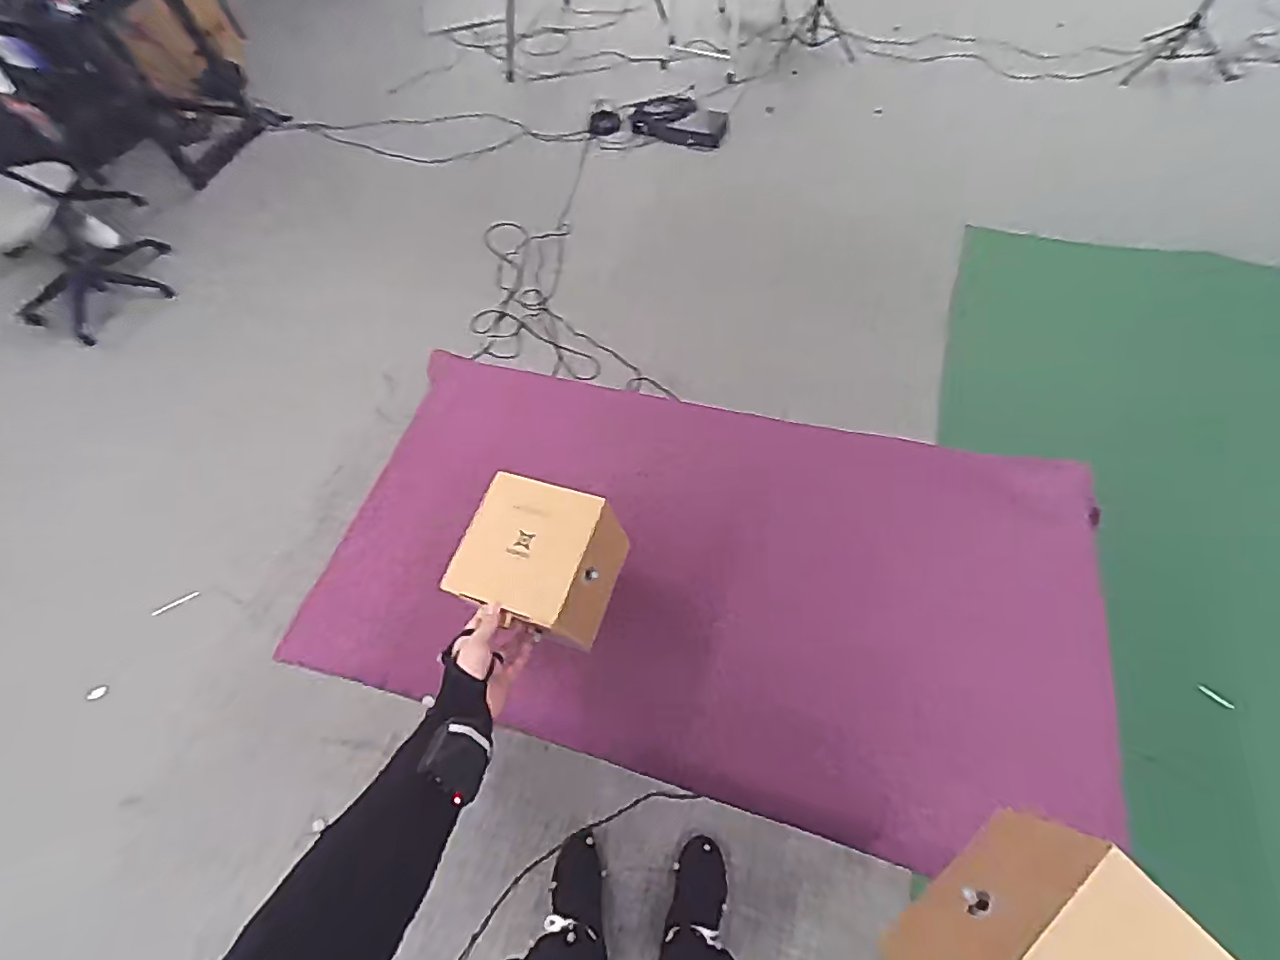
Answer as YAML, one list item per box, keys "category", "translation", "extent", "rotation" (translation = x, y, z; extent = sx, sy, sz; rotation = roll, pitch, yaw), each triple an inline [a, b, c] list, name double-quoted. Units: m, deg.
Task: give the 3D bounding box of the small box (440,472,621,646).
- category: "small box"
  translation: [-0.139, 0.117, 0.766]
  extent: [0.168, 0.176, 0.179]
  rotation: [15, 66, 17]
